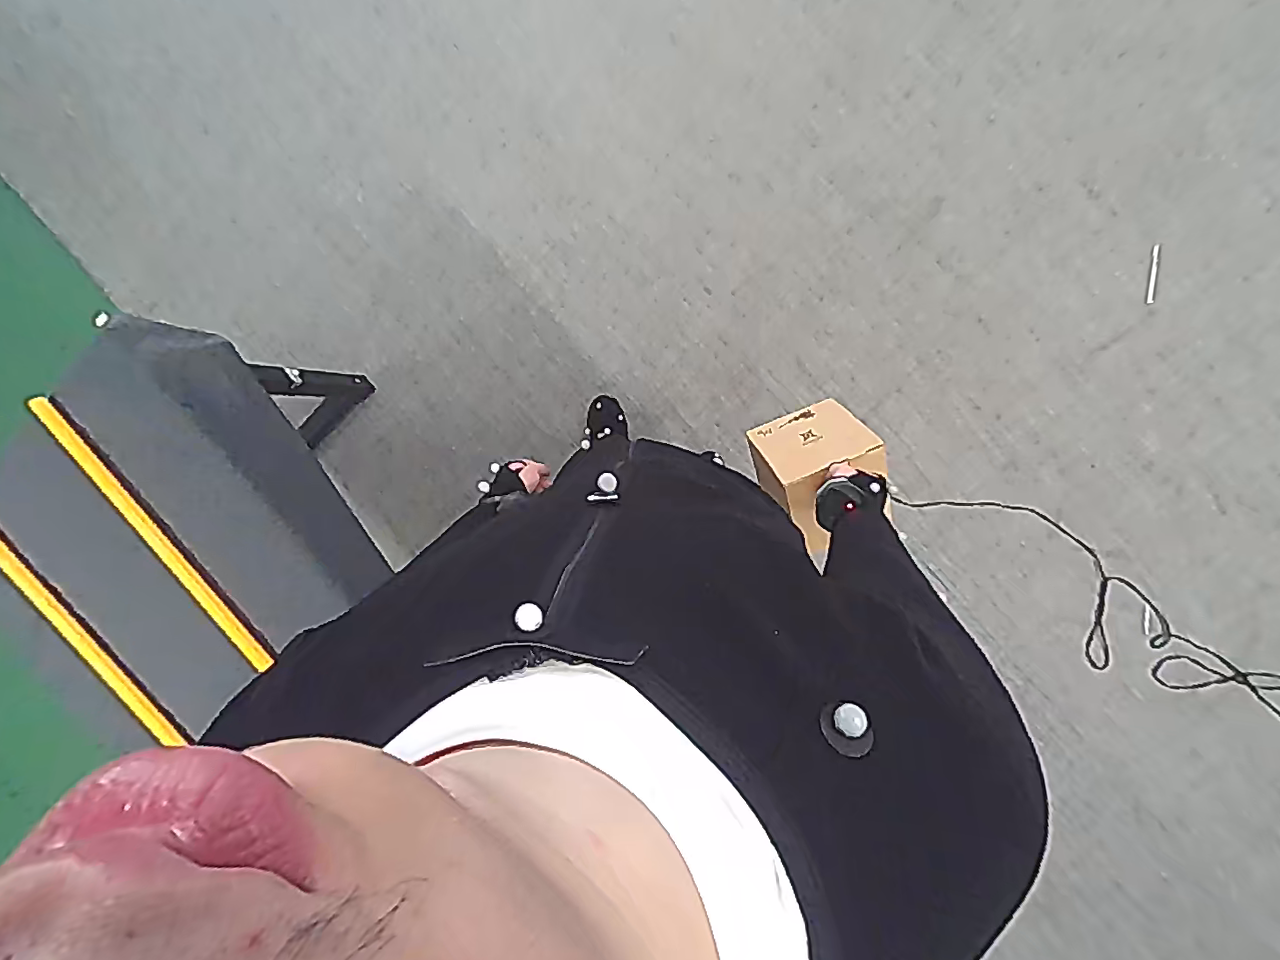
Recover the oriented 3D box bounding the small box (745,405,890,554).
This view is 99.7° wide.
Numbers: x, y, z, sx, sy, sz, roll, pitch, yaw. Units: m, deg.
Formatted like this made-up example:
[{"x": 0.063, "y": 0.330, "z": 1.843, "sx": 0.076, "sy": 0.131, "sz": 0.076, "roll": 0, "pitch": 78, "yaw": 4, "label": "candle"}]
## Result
[{"x": 0.307, "y": 0.005, "z": 0.933, "sx": 0.168, "sy": 0.179, "sz": 0.176, "roll": -25, "pitch": 123, "yaw": 0, "label": "small box"}]
